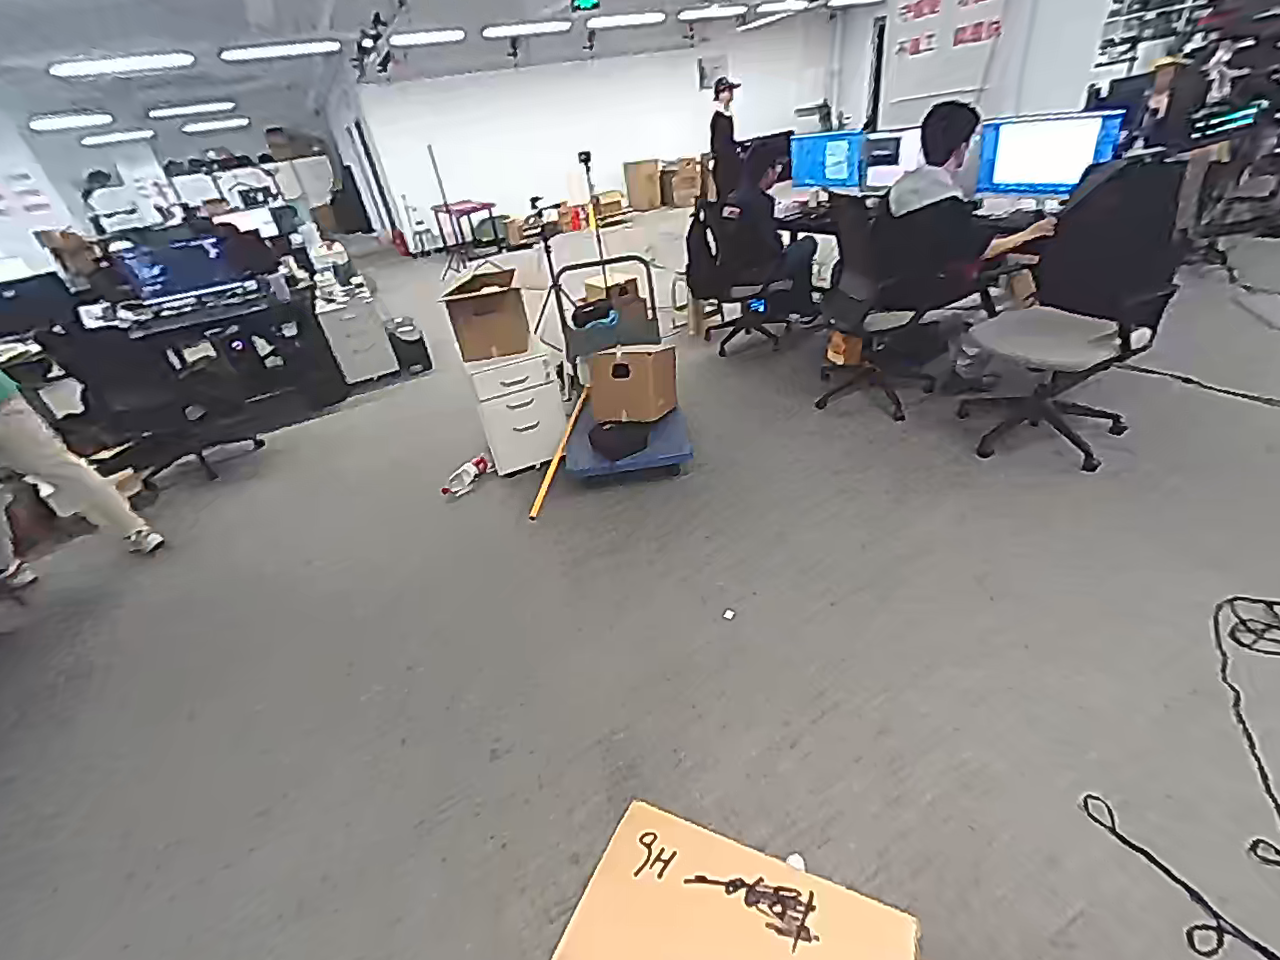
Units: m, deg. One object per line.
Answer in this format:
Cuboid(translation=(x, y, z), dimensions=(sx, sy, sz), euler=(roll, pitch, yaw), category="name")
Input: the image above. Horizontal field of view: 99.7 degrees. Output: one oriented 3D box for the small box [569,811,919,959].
Cuboid(translation=(0.050, 0.332, 0.288), dimensions=(0.168, 0.176, 0.179), euler=(4, 35, 30), category="small box")
